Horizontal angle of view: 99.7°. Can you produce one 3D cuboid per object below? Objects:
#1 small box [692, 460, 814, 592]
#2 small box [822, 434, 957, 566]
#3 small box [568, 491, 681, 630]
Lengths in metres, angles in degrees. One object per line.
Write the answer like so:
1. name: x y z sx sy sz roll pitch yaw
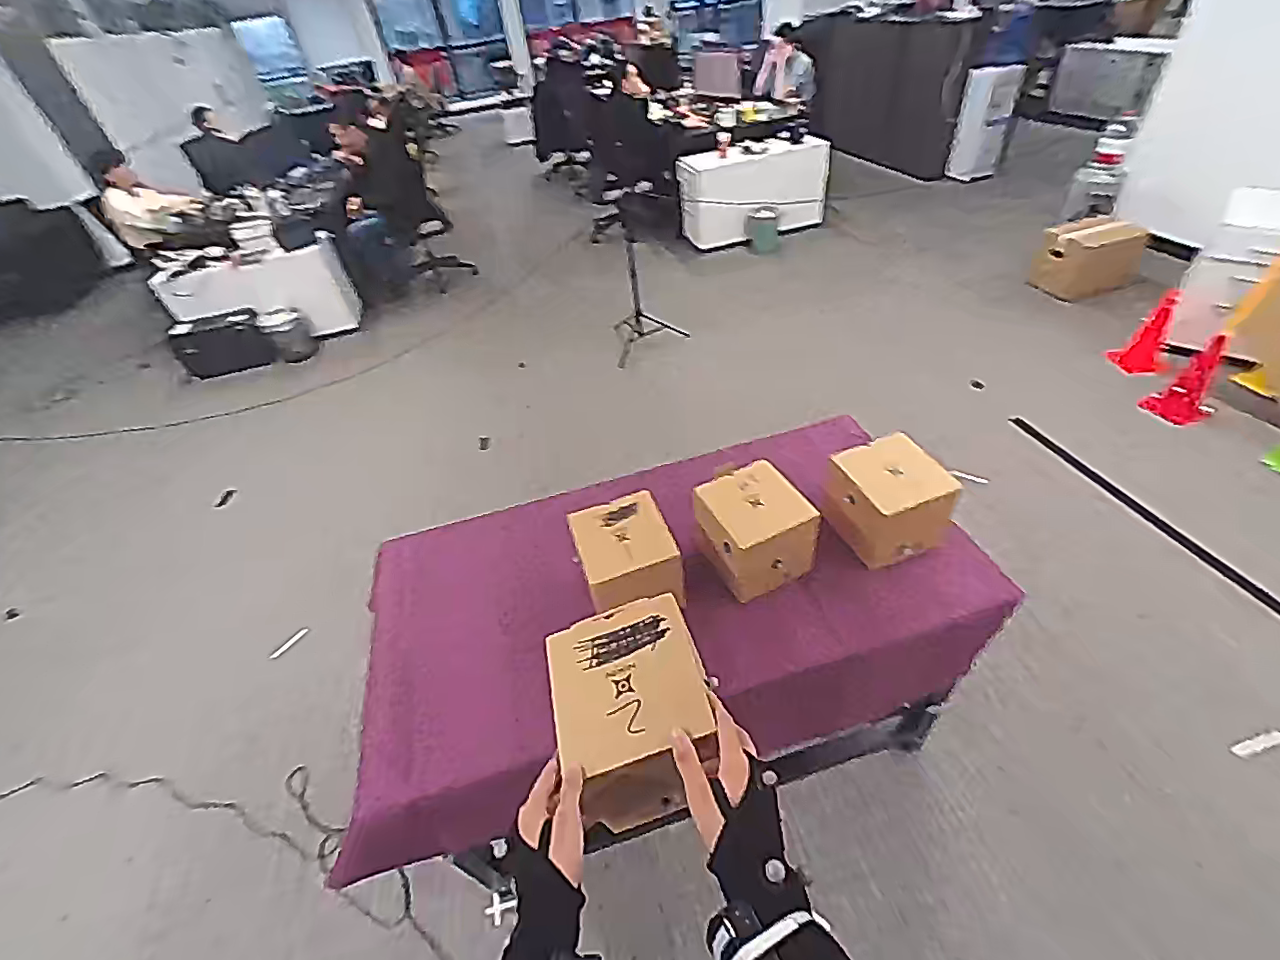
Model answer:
1. small box: 0.218 0.097 1.068 0.168 0.176 0.179 -21 44 -14
2. small box: 0.484 0.040 1.083 0.168 0.176 0.179 -18 43 -9
3. small box: -0.029 0.156 1.047 0.168 0.176 0.179 -18 44 -9
